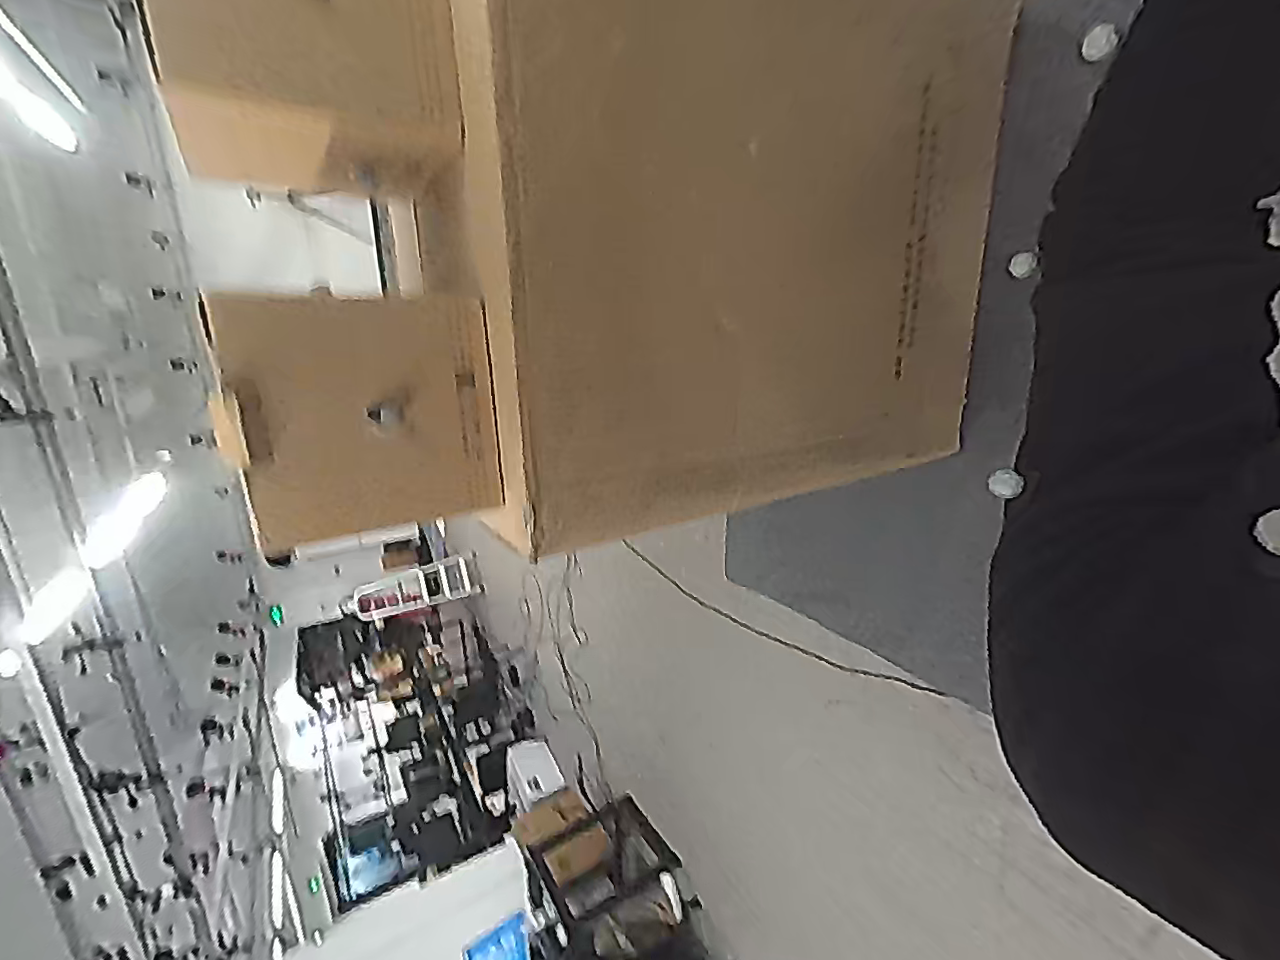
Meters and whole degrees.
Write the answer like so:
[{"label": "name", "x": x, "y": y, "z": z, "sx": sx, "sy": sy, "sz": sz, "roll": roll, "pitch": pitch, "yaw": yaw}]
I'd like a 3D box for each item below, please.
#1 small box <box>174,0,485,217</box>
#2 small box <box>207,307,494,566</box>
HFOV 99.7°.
[{"label": "small box", "x": -0.227, "y": -0.311, "z": 0.394, "sx": 0.168, "sy": 0.176, "sz": 0.179, "roll": 13, "pitch": 110, "yaw": 54}, {"label": "small box", "x": -0.226, "y": -0.049, "z": 0.442, "sx": 0.179, "sy": 0.176, "sz": 0.168, "roll": 14, "pitch": 111, "yaw": 53}]
